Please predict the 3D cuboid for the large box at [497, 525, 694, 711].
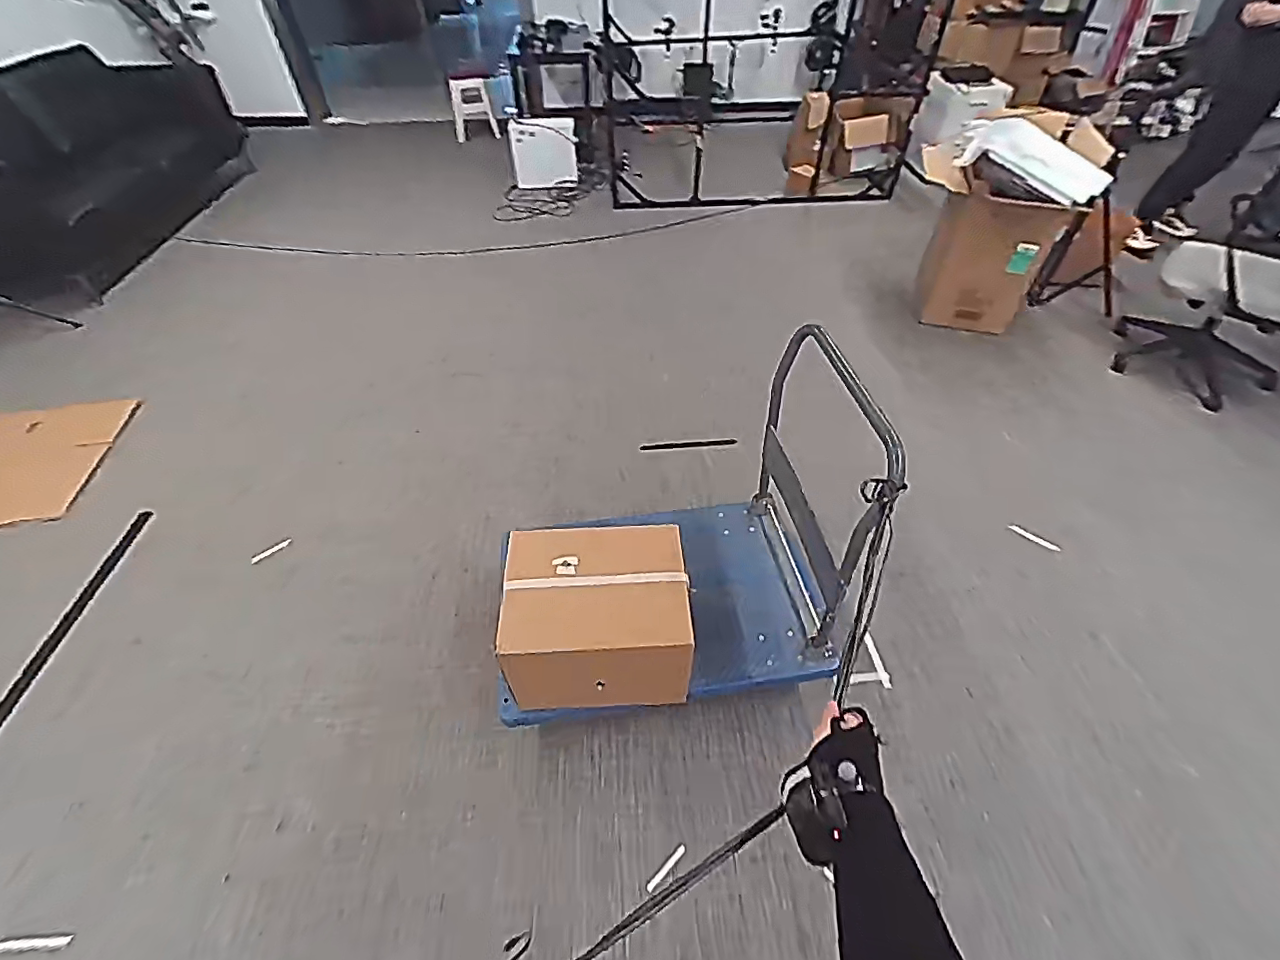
[{"bbox_3d":[-0.095,0.332,1.292,0.408,0.320,0.320,-3,46,-2],"label":"large box"}]
